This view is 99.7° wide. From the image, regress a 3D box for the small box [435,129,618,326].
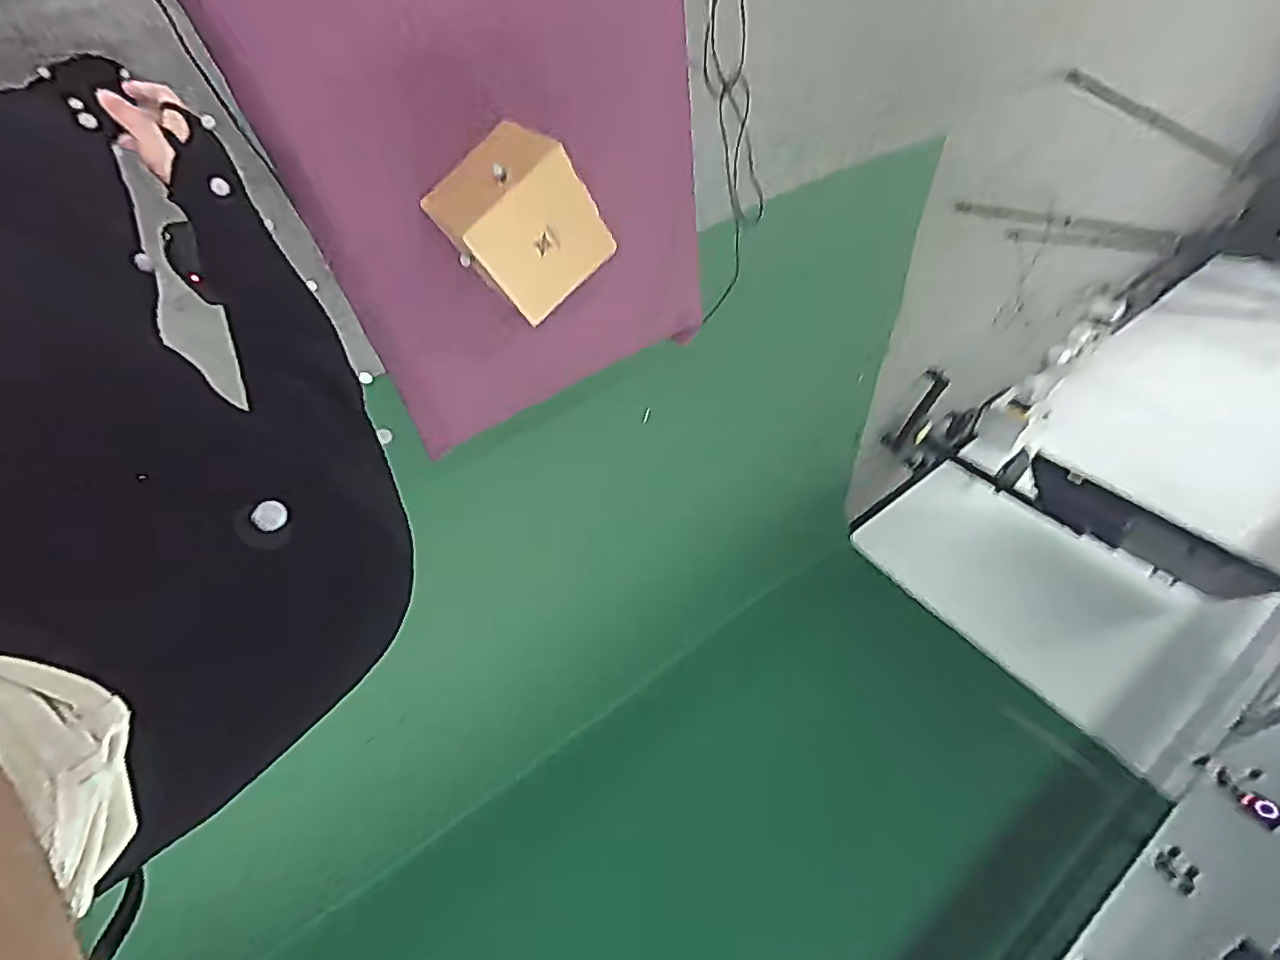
[{"bbox_3d":[-0.170,-0.365,0.782,0.179,0.176,0.168,-44,143,-1],"label":"small box"}]
